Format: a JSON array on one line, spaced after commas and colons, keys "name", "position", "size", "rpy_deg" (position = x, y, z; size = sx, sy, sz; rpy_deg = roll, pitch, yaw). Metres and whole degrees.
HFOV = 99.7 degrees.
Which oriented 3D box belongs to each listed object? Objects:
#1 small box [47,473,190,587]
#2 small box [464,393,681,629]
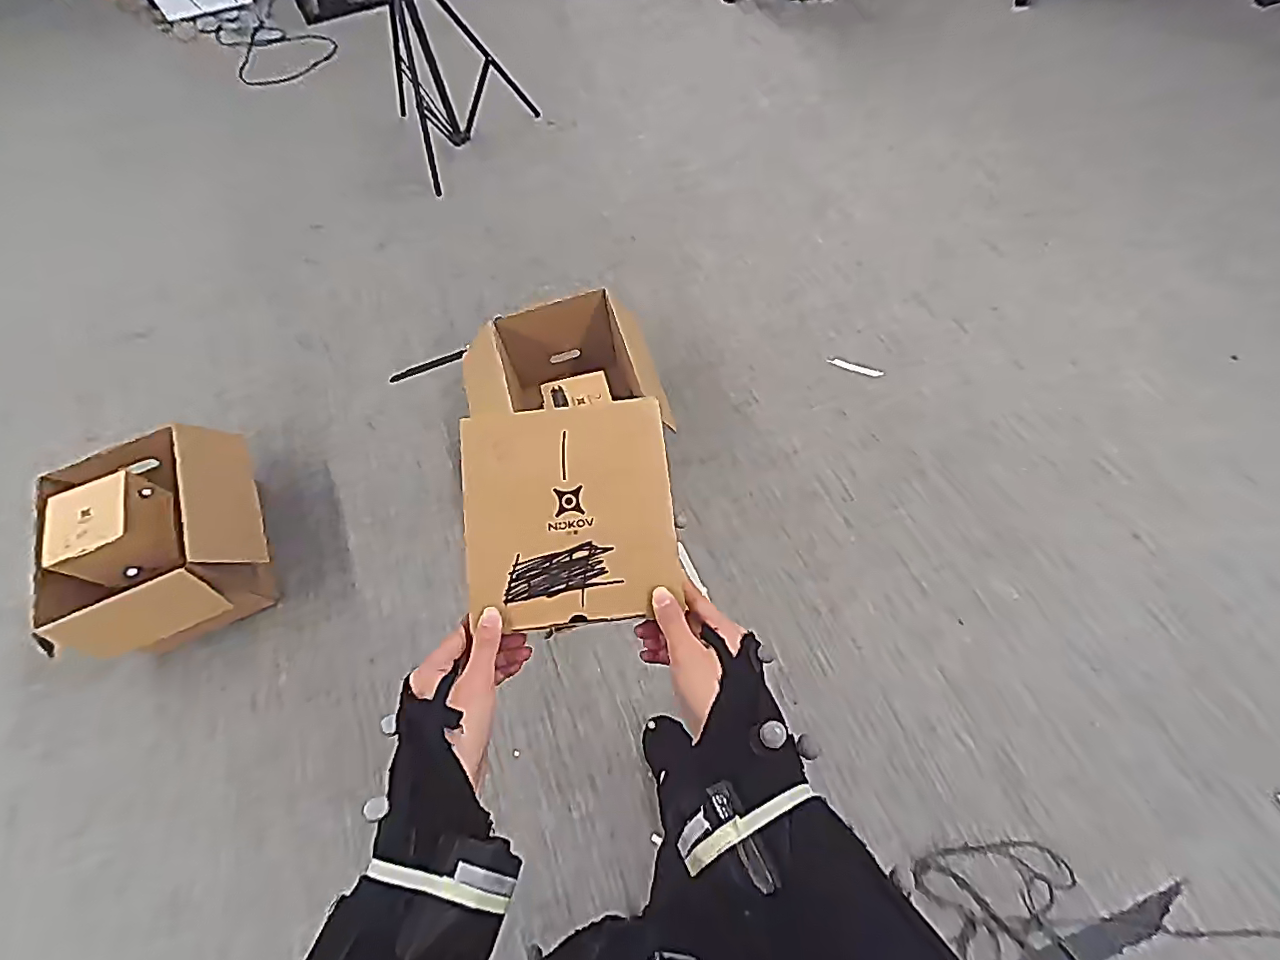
[{"name": "small box", "position": [-1.169, 0.117, 1.226], "size": [0.168, 0.176, 0.179], "rpy_deg": [-23, 65, -6]}, {"name": "small box", "position": [-0.054, 0.037, 0.507], "size": [0.168, 0.176, 0.179], "rpy_deg": [-7, 77, 0]}]
